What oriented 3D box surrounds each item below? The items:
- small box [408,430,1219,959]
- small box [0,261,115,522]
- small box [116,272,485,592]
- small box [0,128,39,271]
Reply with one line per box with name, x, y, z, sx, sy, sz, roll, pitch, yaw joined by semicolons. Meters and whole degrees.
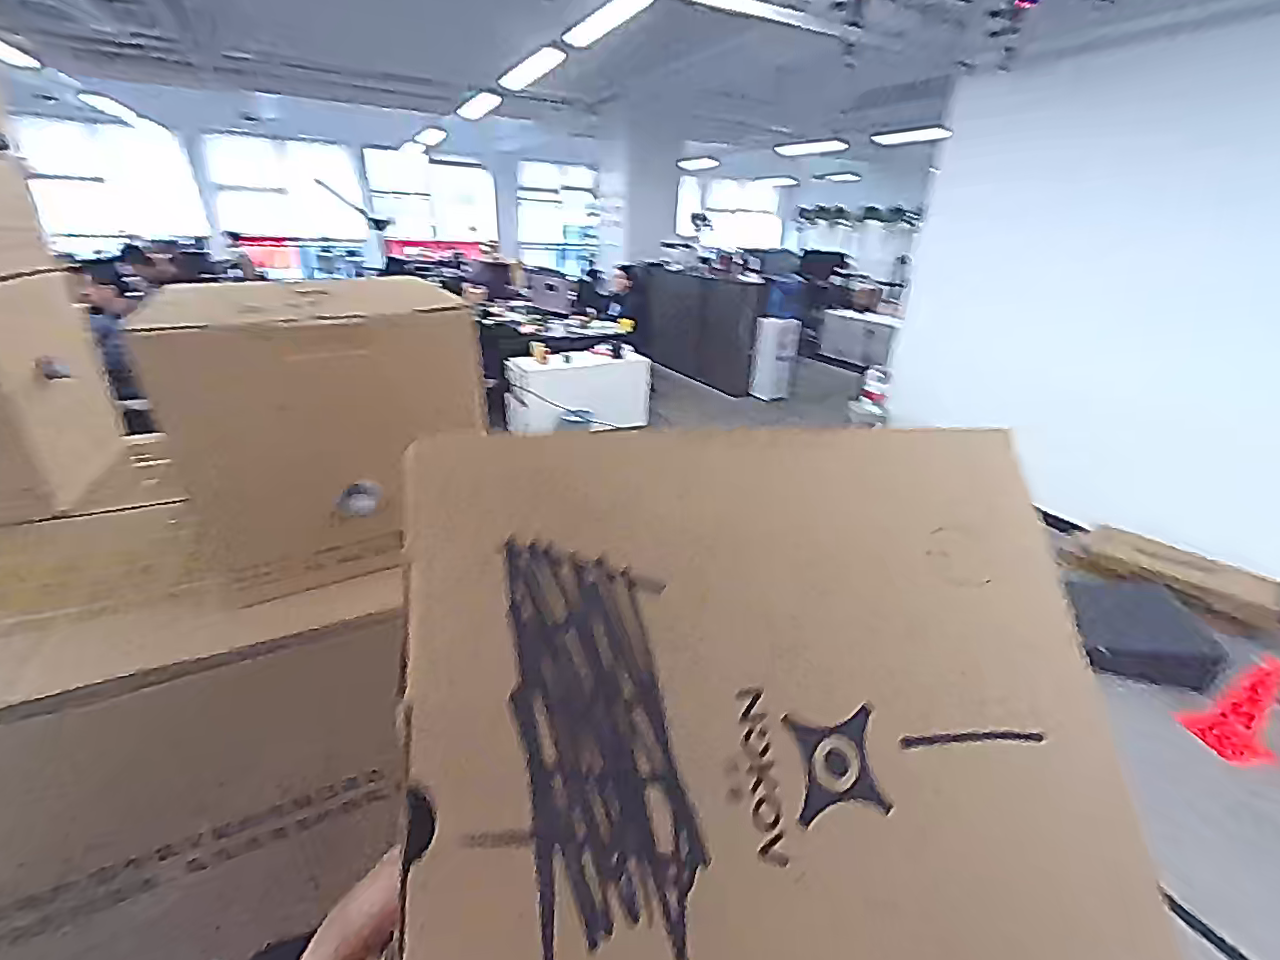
small box;0.027;0.091;0.196;0.179;0.168;0.176;-2;-18;-11
small box;-0.540;-0.065;0.399;0.168;0.176;0.179;-10;28;-27
small box;-0.217;-0.050;0.386;0.168;0.176;0.179;-15;31;-28
small box;-0.524;-0.209;0.320;0.168;0.176;0.179;-11;28;-25
